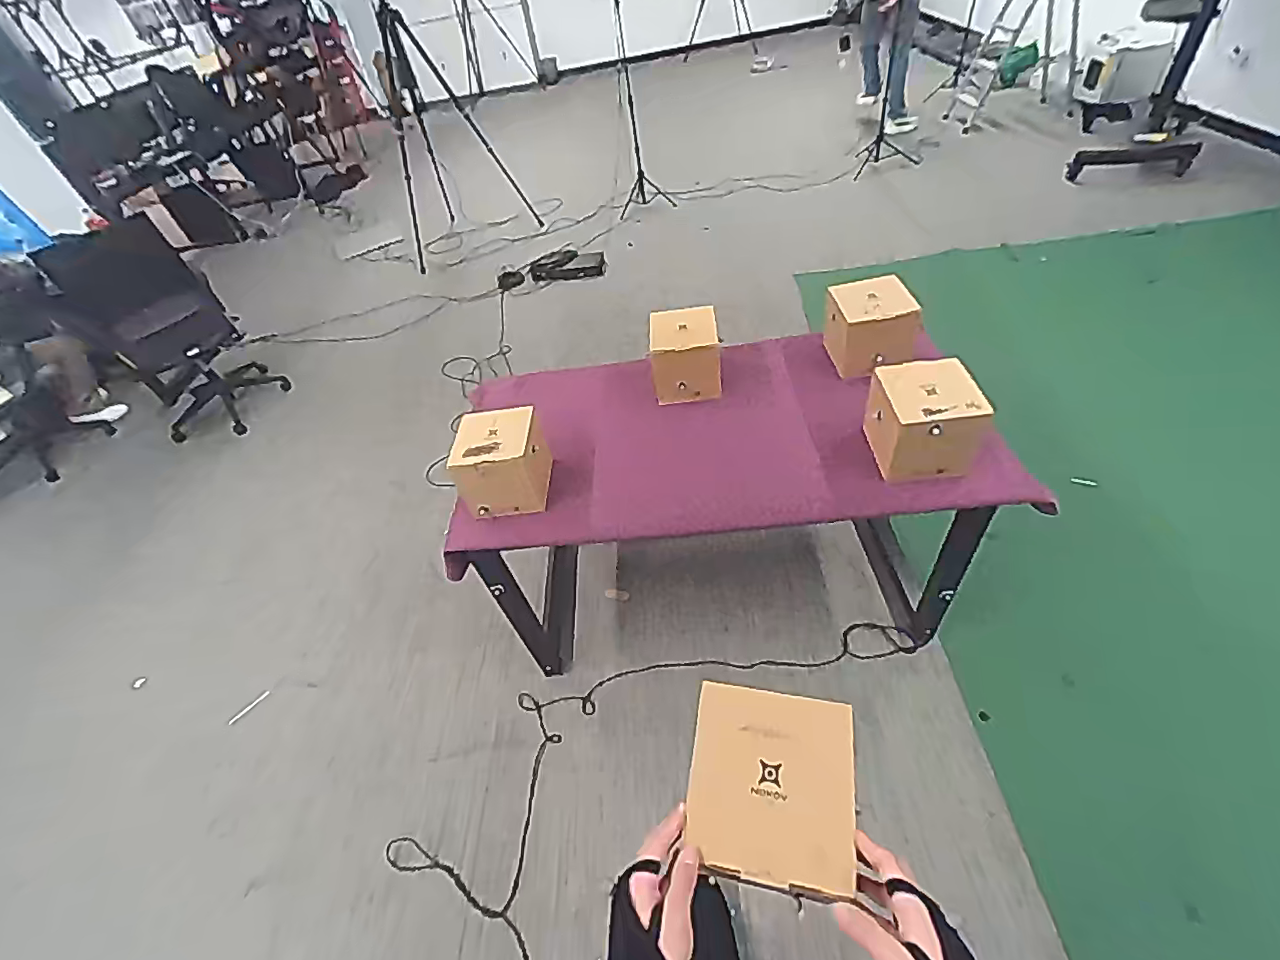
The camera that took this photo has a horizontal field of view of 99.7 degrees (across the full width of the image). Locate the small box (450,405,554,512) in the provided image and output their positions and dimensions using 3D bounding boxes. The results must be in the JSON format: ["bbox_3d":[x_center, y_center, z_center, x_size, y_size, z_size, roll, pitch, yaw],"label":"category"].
[{"bbox_3d":[-0.300,-0.042,1.221,0.168,0.176,0.179,-7,45,6],"label":"small box"}]

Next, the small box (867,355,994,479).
[{"bbox_3d":[0.573,-0.126,1.095,0.168,0.176,0.179,-7,47,9],"label":"small box"}]

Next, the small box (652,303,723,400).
[{"bbox_3d":[0.123,-0.328,1.389,0.168,0.176,0.179,-5,49,8],"label":"small box"}]

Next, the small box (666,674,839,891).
[{"bbox_3d":[0.135,0.352,0.631,0.168,0.176,0.179,5,54,14],"label":"small box"}]

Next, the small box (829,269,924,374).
[{"bbox_3d":[0.571,-0.389,1.334,0.168,0.176,0.179,-10,48,8],"label":"small box"}]
